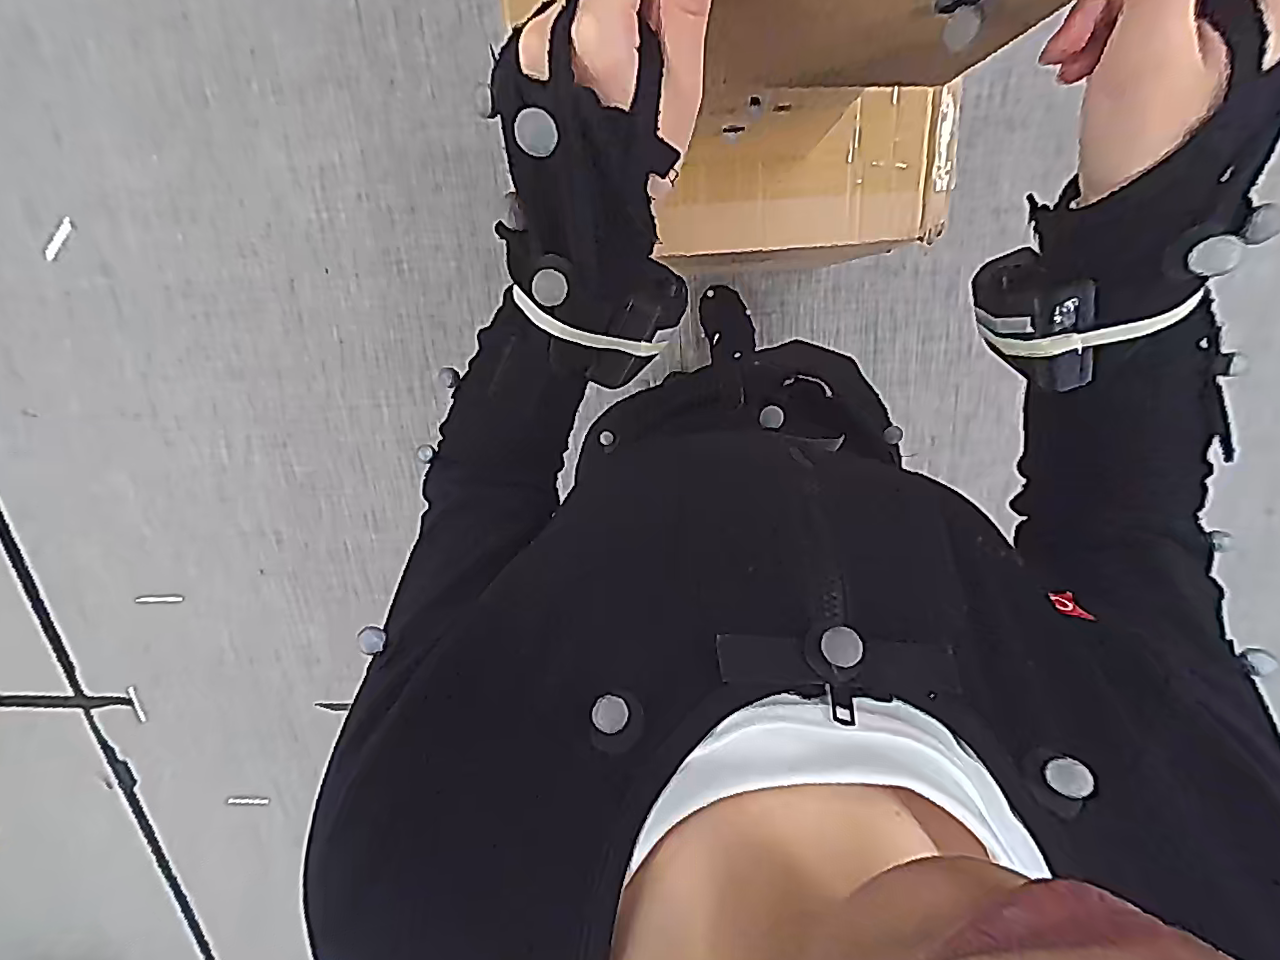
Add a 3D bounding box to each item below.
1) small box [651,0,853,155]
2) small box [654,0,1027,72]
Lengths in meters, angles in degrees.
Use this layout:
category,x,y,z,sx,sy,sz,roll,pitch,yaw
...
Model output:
category,x,y,z,sx,sy,sz,roll,pitch,yaw
small box,0.103,-0.434,0.532,0.179,0.176,0.168,0,108,4
small box,0.094,-0.294,0.224,0.179,0.176,0.168,2,112,4
